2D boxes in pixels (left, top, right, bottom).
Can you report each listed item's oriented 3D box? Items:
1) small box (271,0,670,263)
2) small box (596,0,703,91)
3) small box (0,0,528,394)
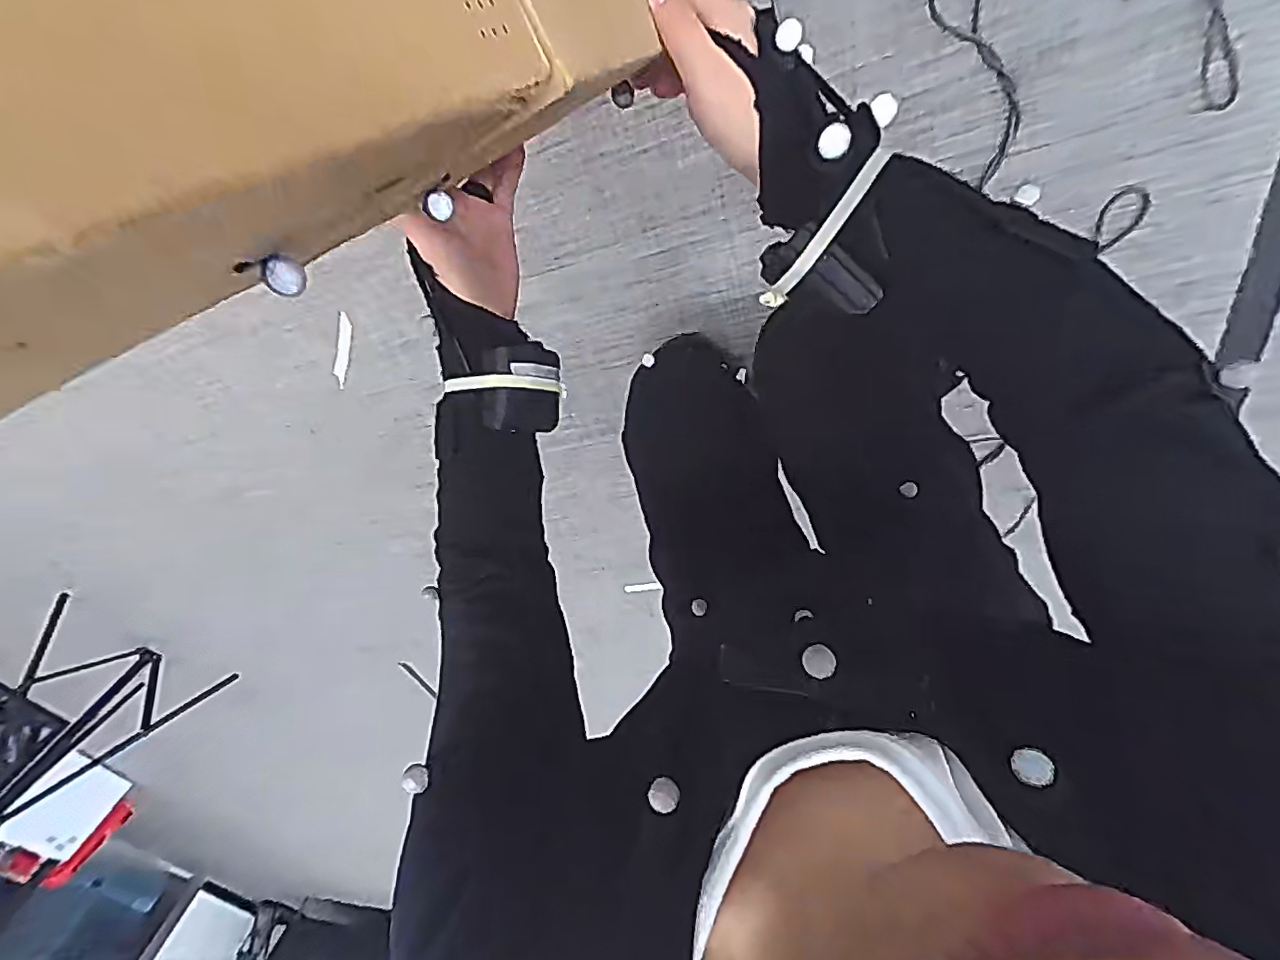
[{"bbox_3d":[-0.108,-0.222,0.221,0.179,0.176,0.168,-12,126,28],"label":"small box"},{"bbox_3d":[-0.070,-0.334,0.336,0.179,0.176,0.168,-10,127,28],"label":"small box"},{"bbox_3d":[-0.155,-0.122,0.101,0.168,0.176,0.179,-13,126,29],"label":"small box"}]
